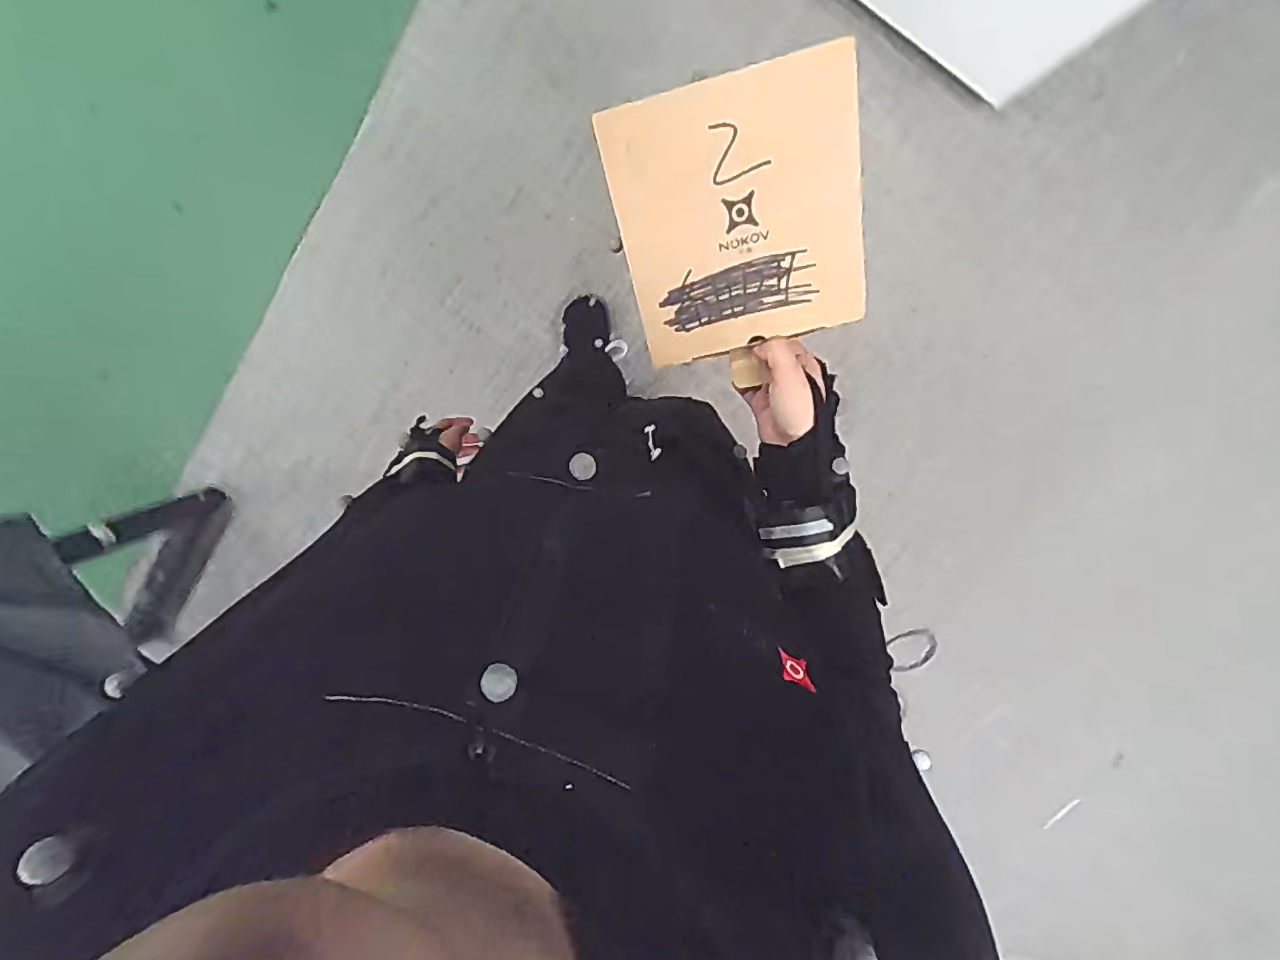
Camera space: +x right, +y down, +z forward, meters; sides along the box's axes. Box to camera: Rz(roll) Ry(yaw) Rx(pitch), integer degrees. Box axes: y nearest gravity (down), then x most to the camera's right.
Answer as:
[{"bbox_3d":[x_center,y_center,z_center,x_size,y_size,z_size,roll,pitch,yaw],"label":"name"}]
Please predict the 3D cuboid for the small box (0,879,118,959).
[{"bbox_3d":[-0.955,0.756,0.811,0.168,0.176,0.179,39,106,-6],"label":"small box"}]
